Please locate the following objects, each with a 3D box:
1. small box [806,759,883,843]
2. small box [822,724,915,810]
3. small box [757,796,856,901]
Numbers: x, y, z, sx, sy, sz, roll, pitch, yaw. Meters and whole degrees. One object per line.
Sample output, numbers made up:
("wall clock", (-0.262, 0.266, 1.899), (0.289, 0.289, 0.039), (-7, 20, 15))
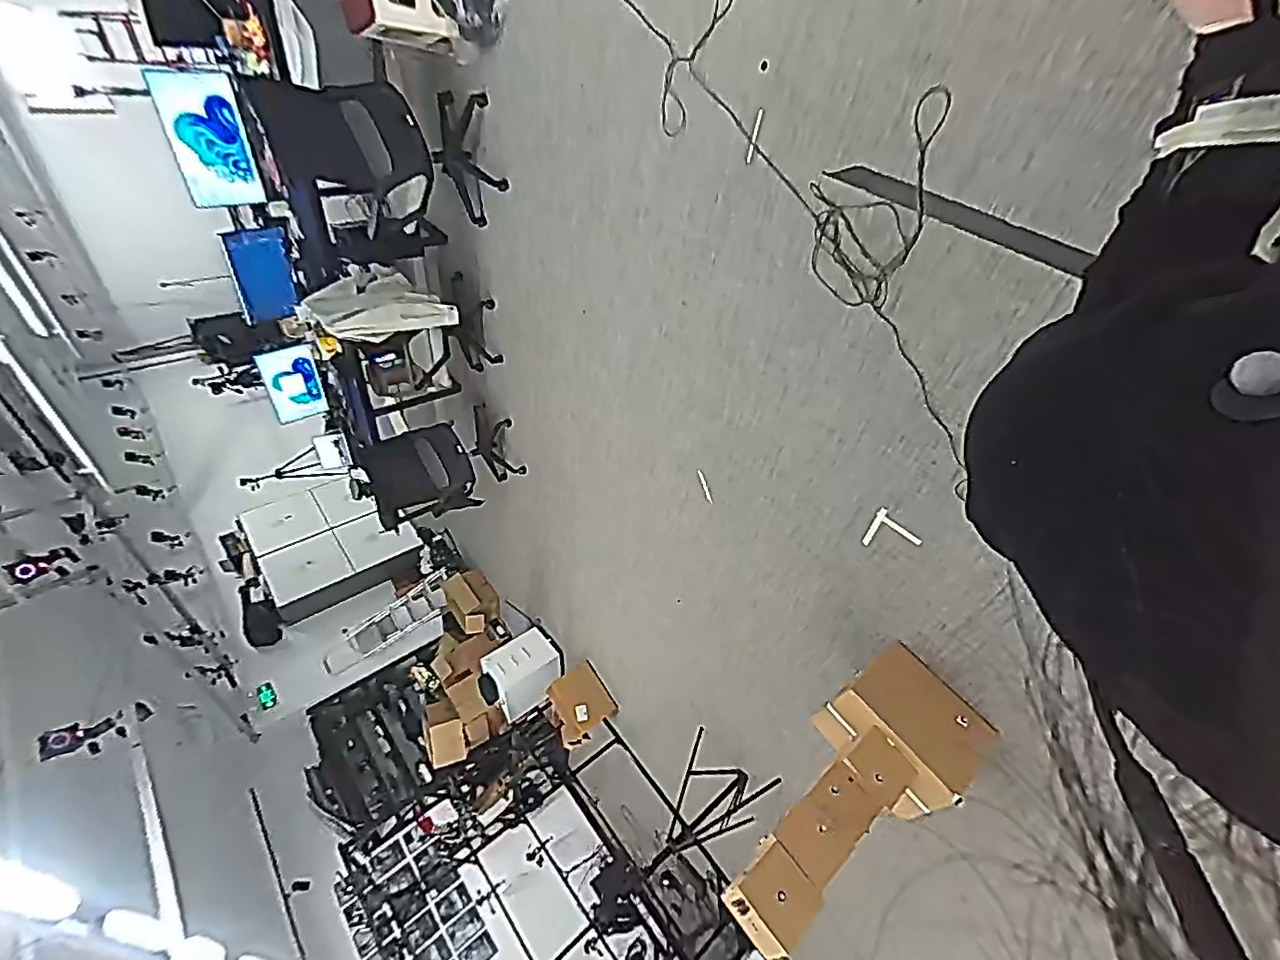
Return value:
("small box", (0.599, 0.983, 1.623), (0.168, 0.176, 0.179), (38, 140, 36))
("small box", (0.720, 0.909, 1.702), (0.179, 0.176, 0.168), (49, 144, 23))
("small box", (0.471, 1.037, 1.536), (0.179, 0.176, 0.168), (43, 142, 31))
